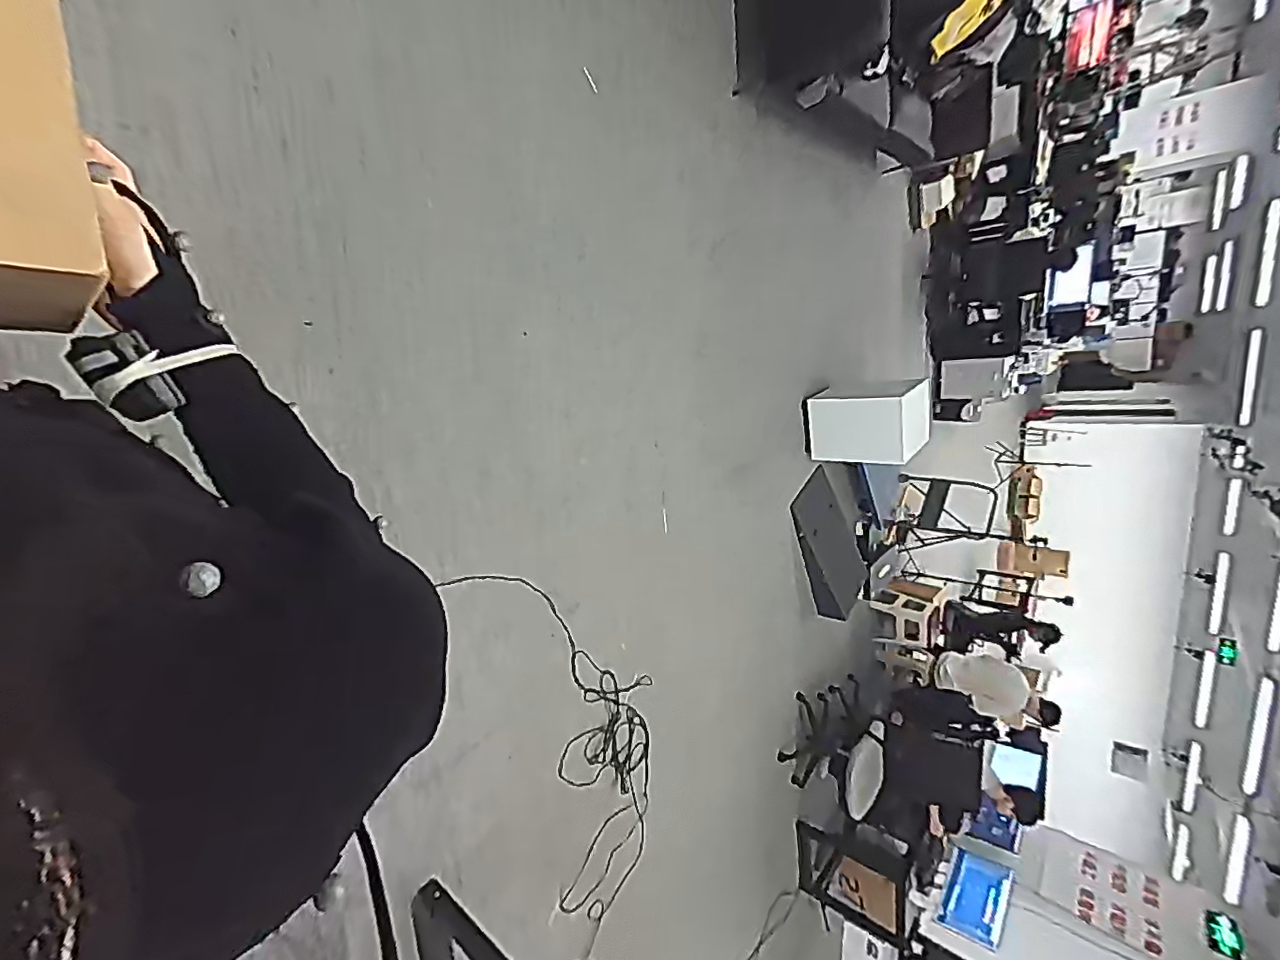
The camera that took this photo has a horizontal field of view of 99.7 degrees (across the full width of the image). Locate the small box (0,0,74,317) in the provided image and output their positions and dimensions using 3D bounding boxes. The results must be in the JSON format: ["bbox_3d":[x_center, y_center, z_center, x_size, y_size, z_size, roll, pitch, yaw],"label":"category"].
[{"bbox_3d":[-0.437,-0.195,0.286,0.168,0.176,0.179,-10,97,-52],"label":"small box"}]
